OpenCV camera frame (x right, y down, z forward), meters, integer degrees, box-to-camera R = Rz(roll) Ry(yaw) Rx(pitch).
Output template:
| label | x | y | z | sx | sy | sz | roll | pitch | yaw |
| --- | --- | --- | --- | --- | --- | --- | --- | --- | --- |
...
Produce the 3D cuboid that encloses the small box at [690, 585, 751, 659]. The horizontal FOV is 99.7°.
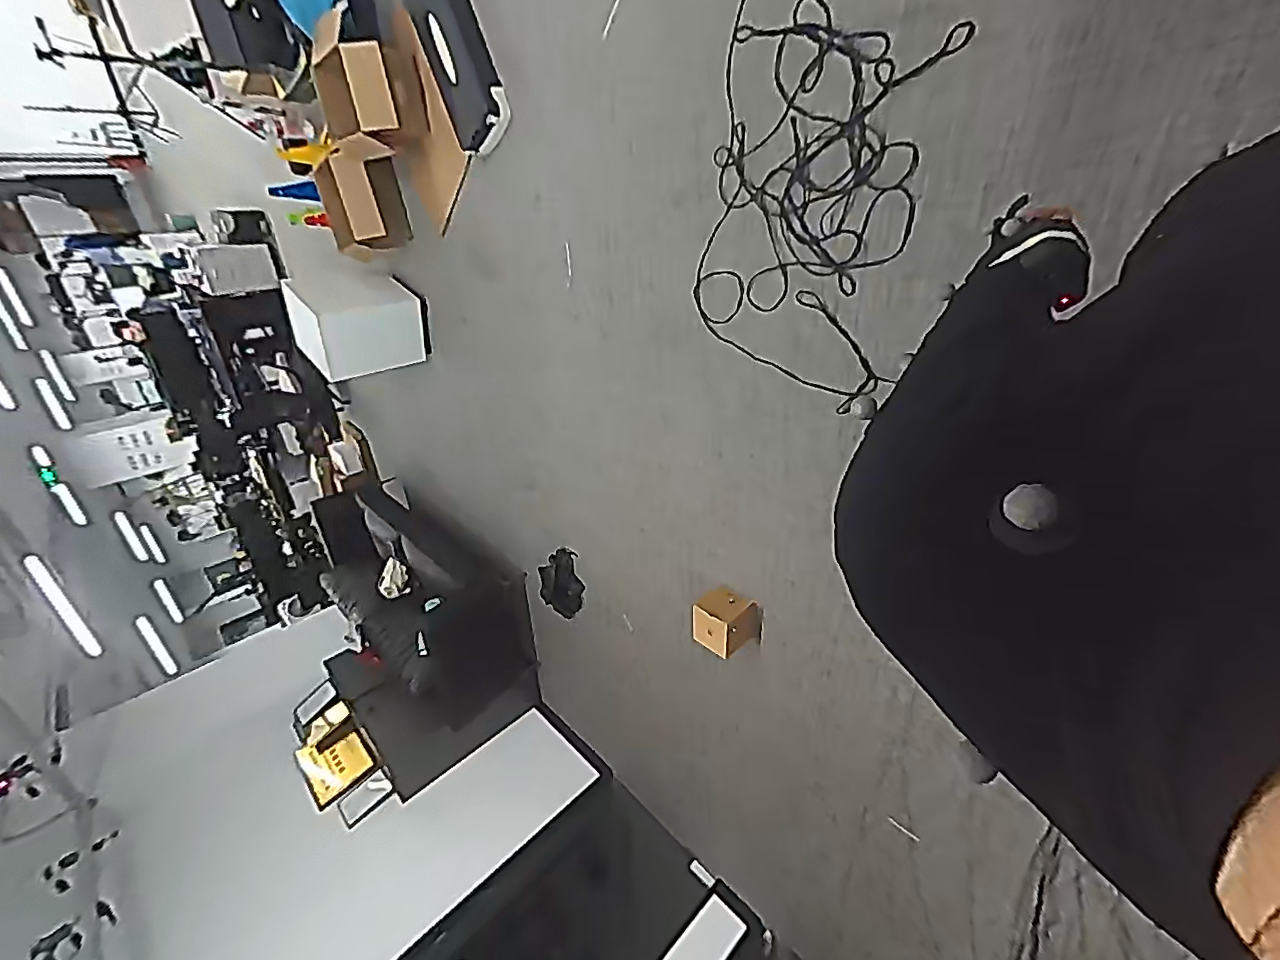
| label | x | y | z | sx | sy | sz | roll | pitch | yaw |
| --- | --- | --- | --- | --- | --- | --- | --- | --- | --- |
| small box | 0.310 | 0.539 | 2.073 | 0.168 | 0.176 | 0.179 | 24 | 127 | 41 |
